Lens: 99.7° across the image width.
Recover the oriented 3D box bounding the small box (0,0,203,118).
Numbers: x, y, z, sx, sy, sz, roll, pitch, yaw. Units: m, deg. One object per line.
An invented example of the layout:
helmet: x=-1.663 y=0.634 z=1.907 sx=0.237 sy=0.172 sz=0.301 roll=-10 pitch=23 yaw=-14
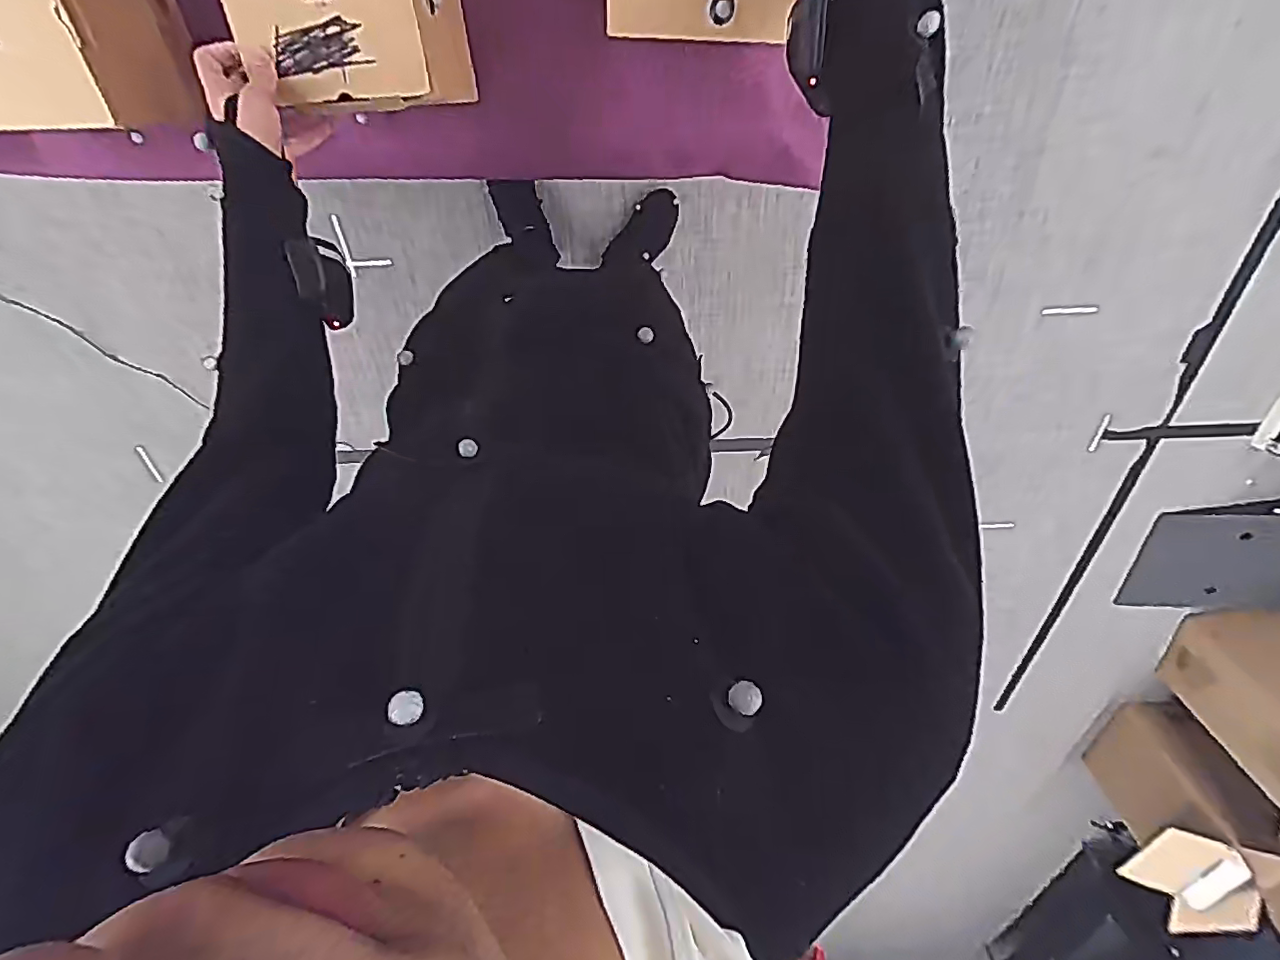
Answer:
small box: x=-0.583 y=-0.456 z=0.529 sx=0.179 sy=0.176 sz=0.168 roll=-2 pitch=124 yaw=-1

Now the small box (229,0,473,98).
small box: x=-0.274 y=-0.477 z=0.519 sx=0.168 sy=0.176 sz=0.179 roll=-3 pitch=123 yaw=1

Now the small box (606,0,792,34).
small box: x=0.055 y=-0.516 z=0.476 sx=0.168 sy=0.179 sz=0.176 roll=1 pitch=135 yaw=-1
